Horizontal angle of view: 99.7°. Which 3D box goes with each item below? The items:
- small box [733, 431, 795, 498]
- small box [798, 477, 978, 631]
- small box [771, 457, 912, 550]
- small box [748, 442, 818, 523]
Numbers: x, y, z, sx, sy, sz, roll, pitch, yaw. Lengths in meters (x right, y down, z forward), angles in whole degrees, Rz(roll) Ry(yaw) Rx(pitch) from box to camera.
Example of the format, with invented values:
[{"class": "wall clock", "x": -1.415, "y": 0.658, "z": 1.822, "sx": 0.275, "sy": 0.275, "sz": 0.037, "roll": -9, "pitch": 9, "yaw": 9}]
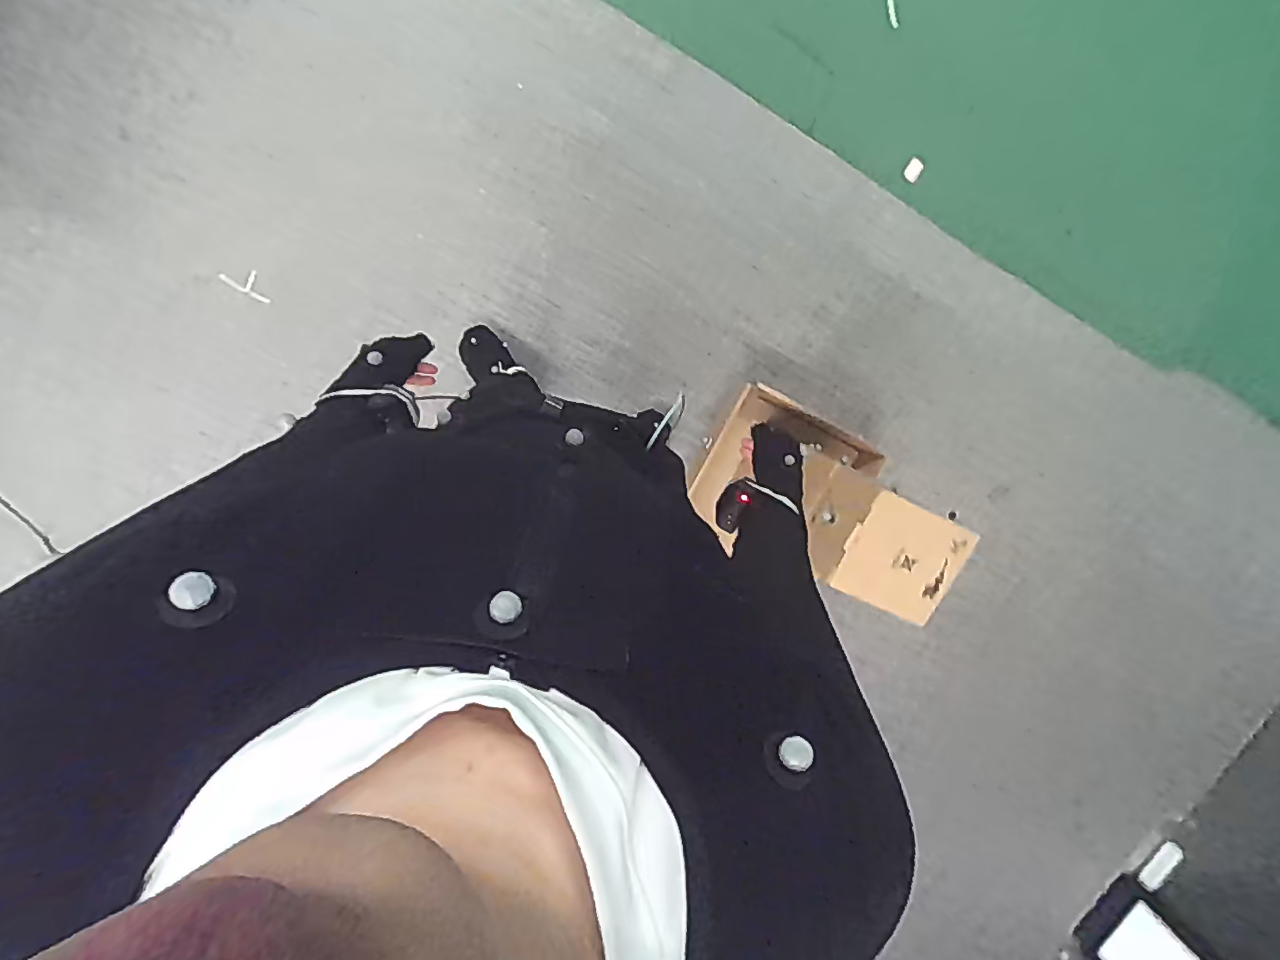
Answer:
[{"class": "small box", "x": 0.359, "y": -0.009, "z": 1.357, "sx": 0.179, "sy": 0.176, "sz": 0.168, "roll": 28, "pitch": 100, "yaw": -8}, {"class": "small box", "x": 0.387, "y": 0.108, "z": 0.882, "sx": 0.179, "sy": 0.176, "sz": 0.168, "roll": 26, "pitch": 103, "yaw": -7}, {"class": "small box", "x": 0.378, "y": 0.068, "z": 1.040, "sx": 0.179, "sy": 0.176, "sz": 0.168, "roll": 25, "pitch": 102, "yaw": -8}, {"class": "small box", "x": 0.366, "y": 0.029, "z": 1.199, "sx": 0.179, "sy": 0.176, "sz": 0.168, "roll": 27, "pitch": 101, "yaw": -8}]
